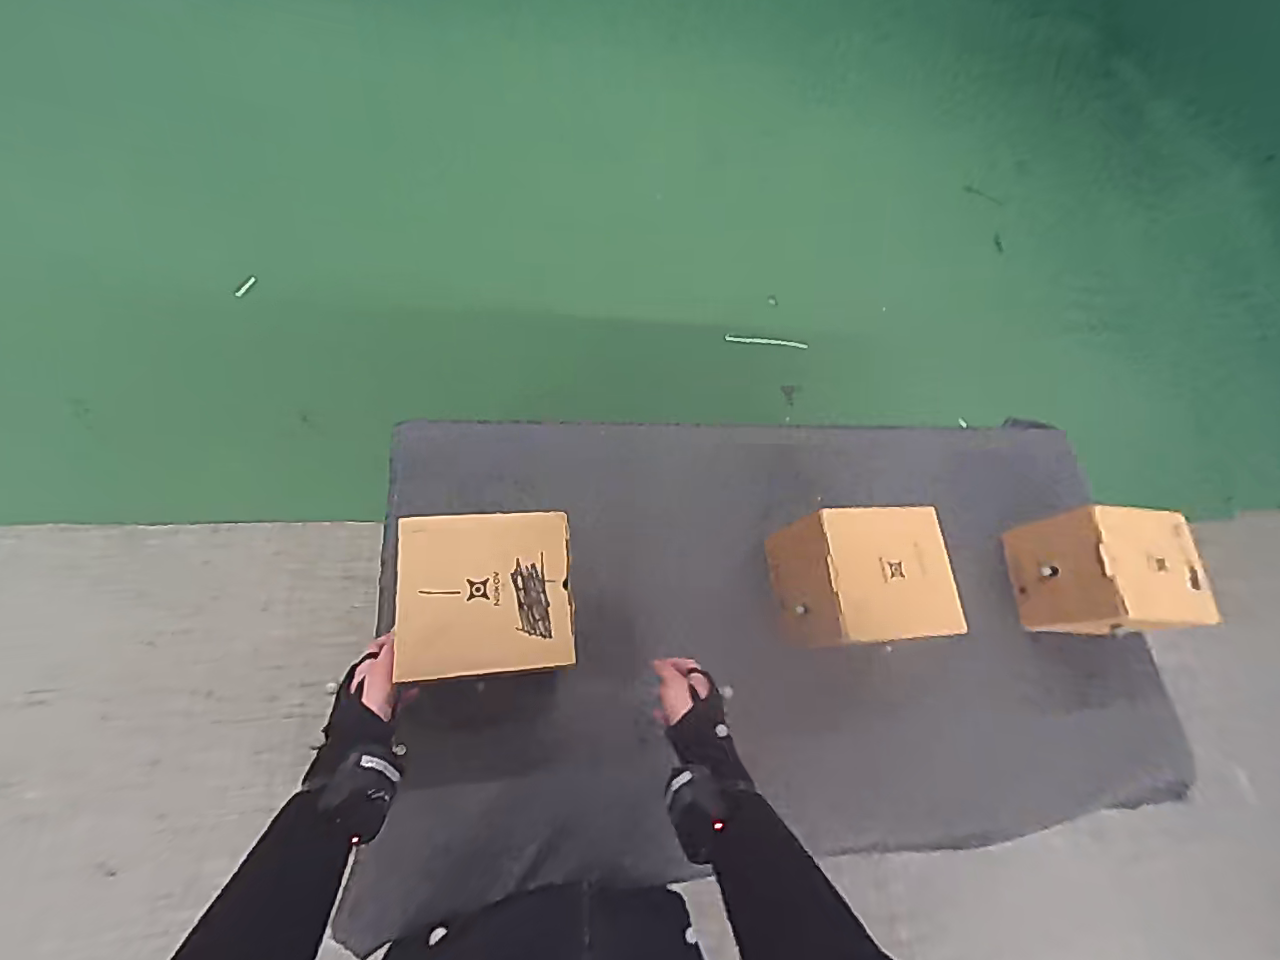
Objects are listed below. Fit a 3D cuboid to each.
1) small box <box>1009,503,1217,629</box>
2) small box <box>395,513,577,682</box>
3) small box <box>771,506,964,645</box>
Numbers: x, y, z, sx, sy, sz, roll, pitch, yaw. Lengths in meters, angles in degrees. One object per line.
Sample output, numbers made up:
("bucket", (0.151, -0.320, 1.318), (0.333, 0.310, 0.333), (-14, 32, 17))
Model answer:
("small box", (0.724, 0.144, 0.856), (0.179, 0.176, 0.168), (5, 70, -11))
("small box", (-0.175, 0.140, 0.632), (0.179, 0.176, 0.168), (-1, 70, -14))
("small box", (0.299, 0.138, 0.756), (0.179, 0.176, 0.168), (0, 72, -16))
